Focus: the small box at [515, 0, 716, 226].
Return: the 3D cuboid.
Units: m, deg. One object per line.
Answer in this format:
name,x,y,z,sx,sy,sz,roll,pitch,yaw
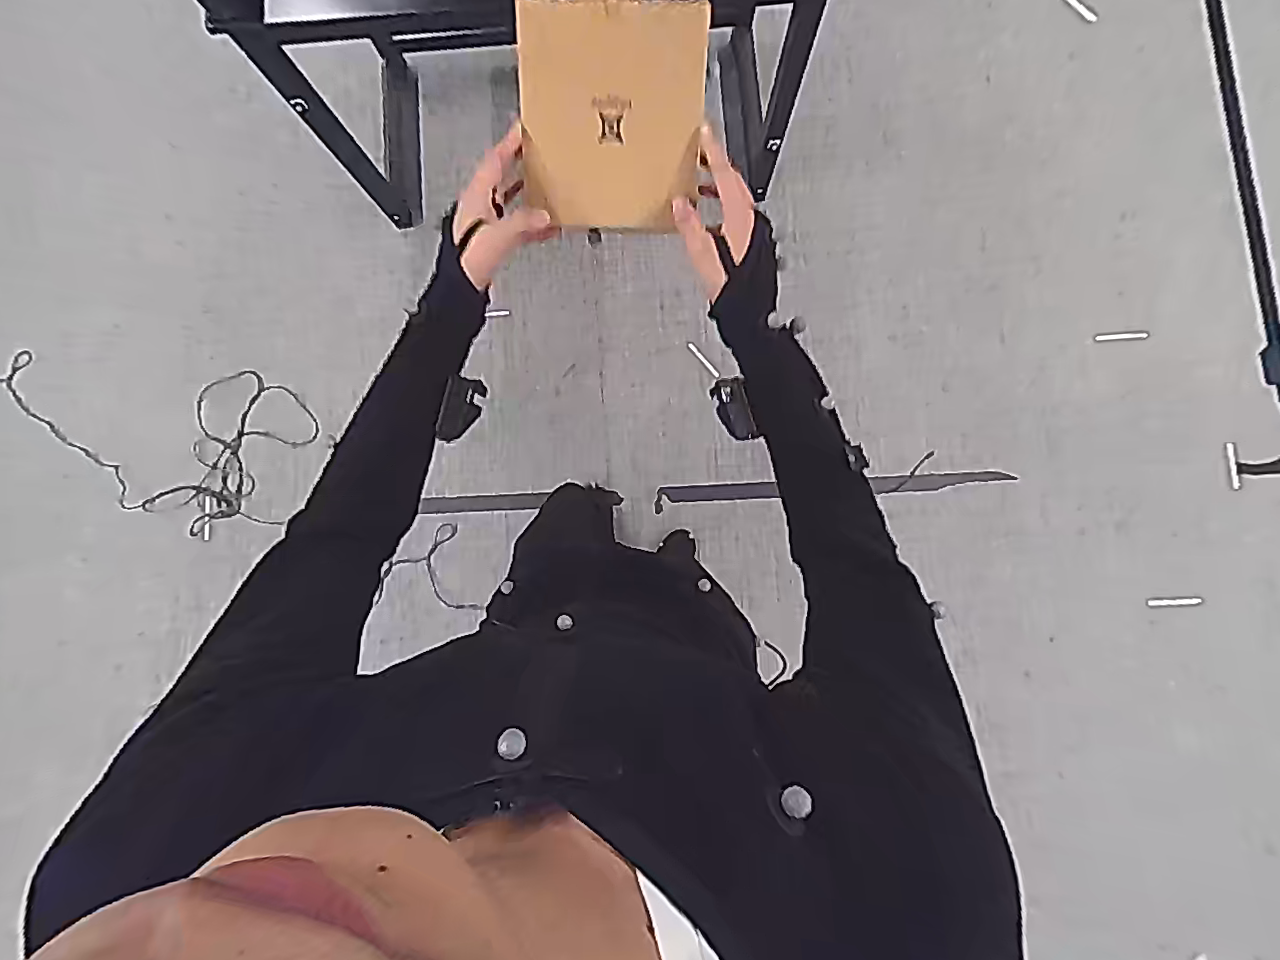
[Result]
small box,-0.021,-0.353,0.538,0.168,0.176,0.179,2,113,0
